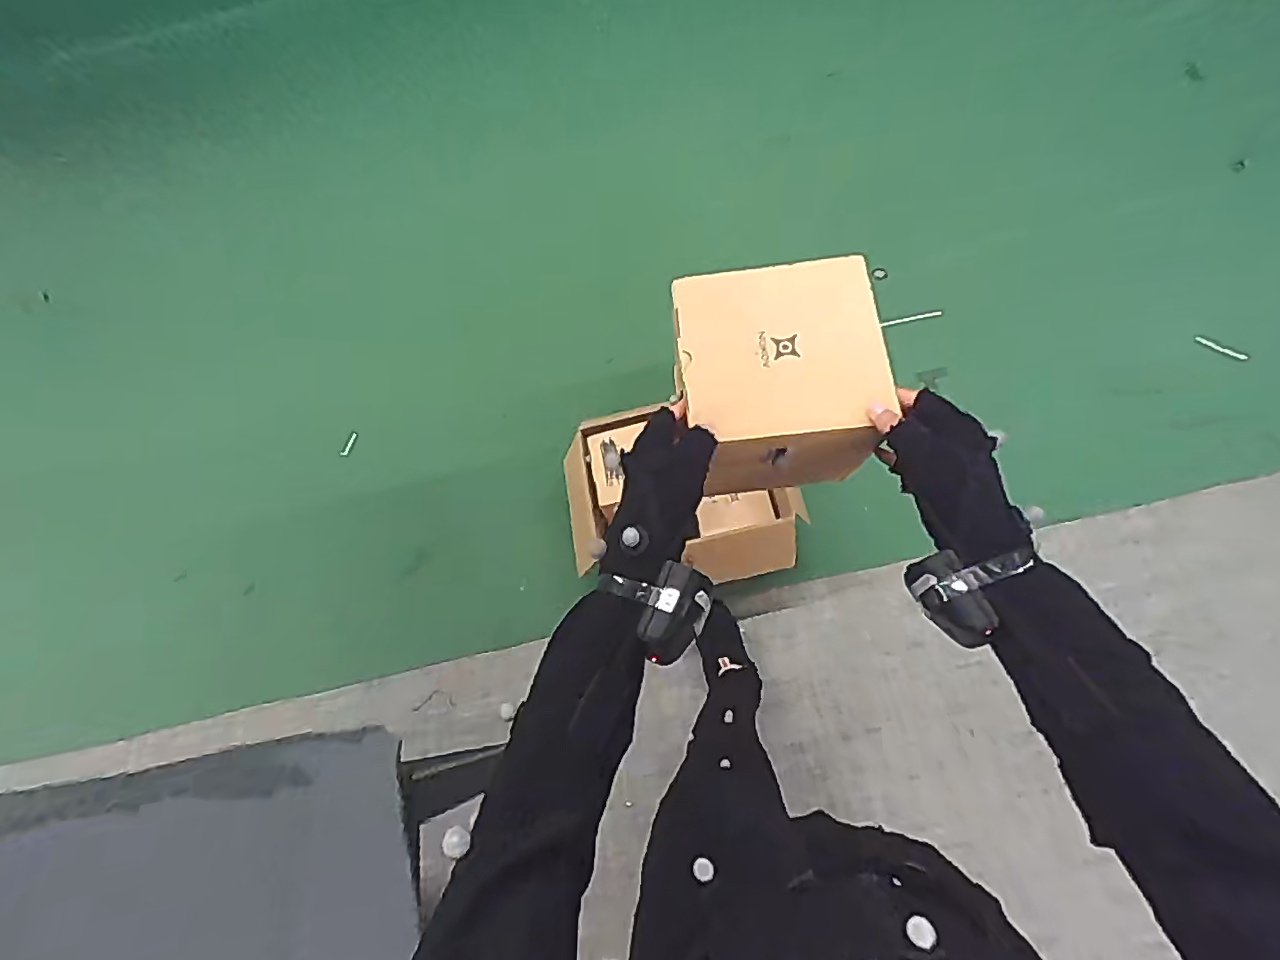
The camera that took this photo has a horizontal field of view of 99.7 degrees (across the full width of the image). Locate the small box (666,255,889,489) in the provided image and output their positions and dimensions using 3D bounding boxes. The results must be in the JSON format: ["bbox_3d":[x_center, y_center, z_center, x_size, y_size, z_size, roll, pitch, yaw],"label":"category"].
[{"bbox_3d":[0.122,-0.096,0.548,0.179,0.176,0.168,-6,73,5],"label":"small box"}]
